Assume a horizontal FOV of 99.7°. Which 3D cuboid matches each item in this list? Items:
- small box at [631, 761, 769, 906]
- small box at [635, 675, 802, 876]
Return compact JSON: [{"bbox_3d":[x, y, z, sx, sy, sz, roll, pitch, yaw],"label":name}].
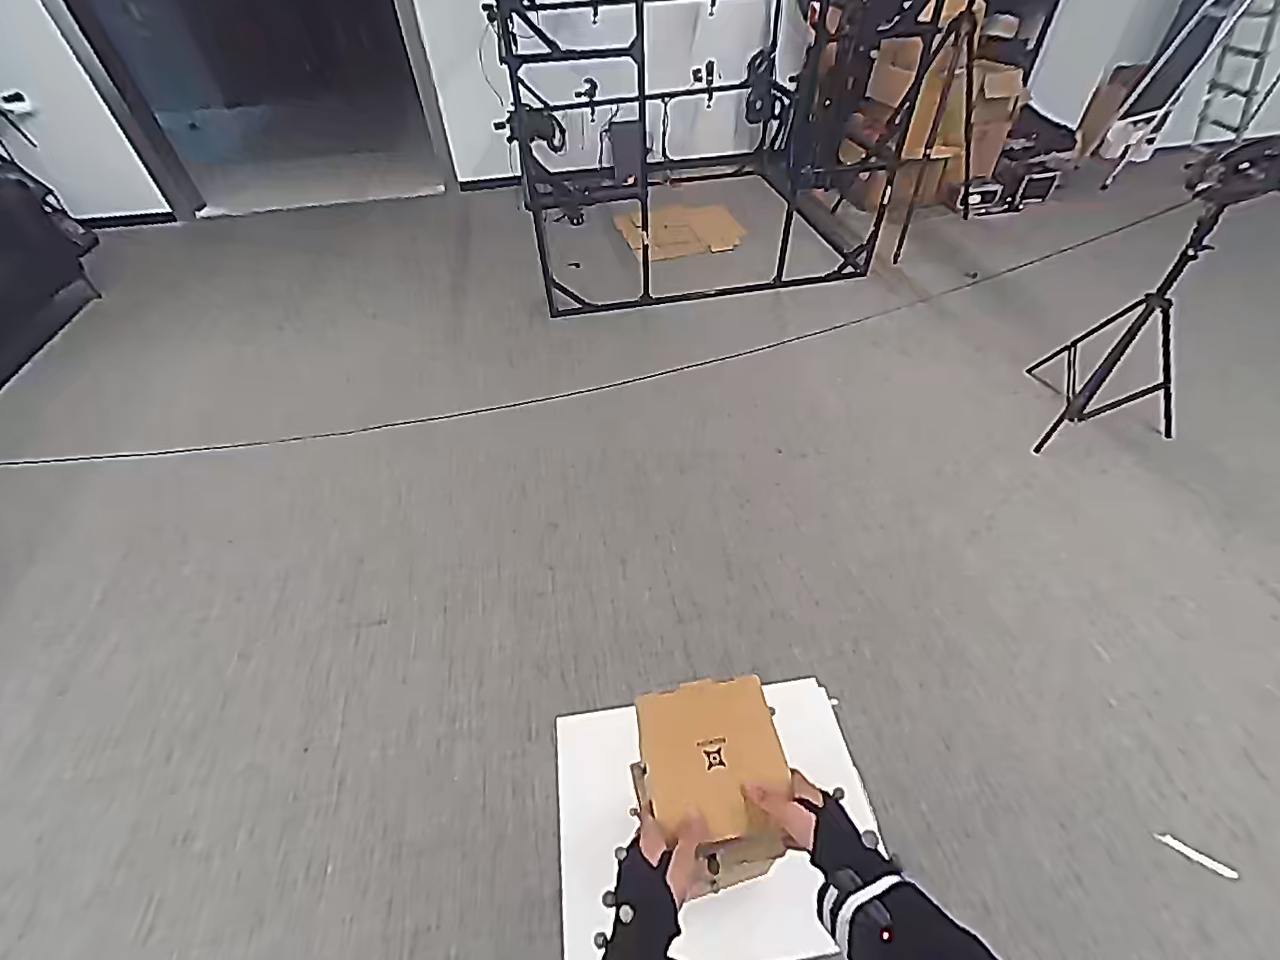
[{"bbox_3d":[0.092,0.523,0.830,0.179,0.176,0.168,-12,47,-10],"label":"small box"},{"bbox_3d":[0.090,0.383,0.696,0.168,0.176,0.179,-8,43,-6],"label":"small box"}]
